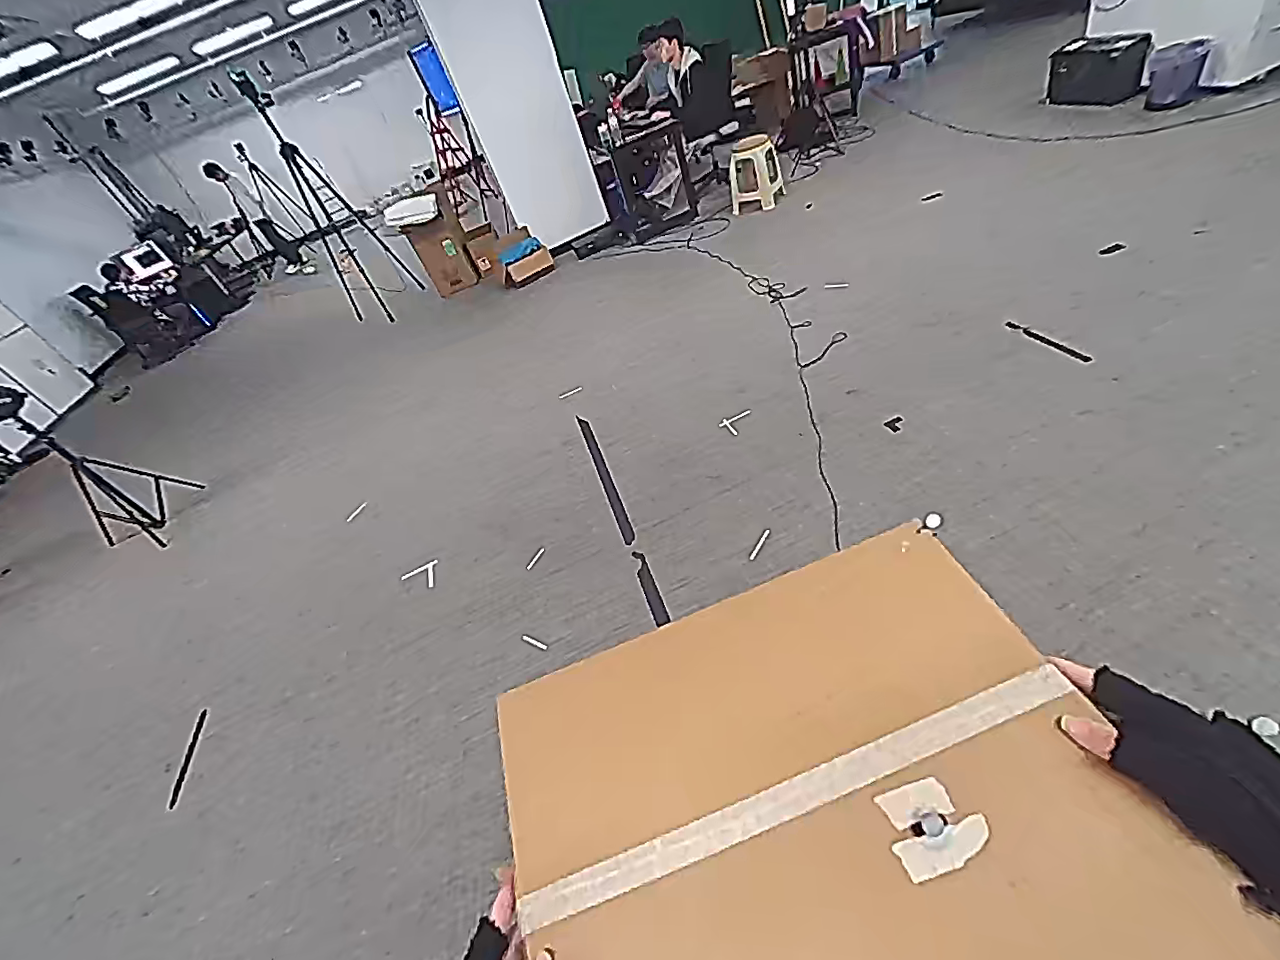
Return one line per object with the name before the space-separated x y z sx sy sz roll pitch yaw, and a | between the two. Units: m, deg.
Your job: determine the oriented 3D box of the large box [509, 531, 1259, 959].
large box | 0.145 0.318 0.492 0.408 0.320 0.320 -22 47 -3
